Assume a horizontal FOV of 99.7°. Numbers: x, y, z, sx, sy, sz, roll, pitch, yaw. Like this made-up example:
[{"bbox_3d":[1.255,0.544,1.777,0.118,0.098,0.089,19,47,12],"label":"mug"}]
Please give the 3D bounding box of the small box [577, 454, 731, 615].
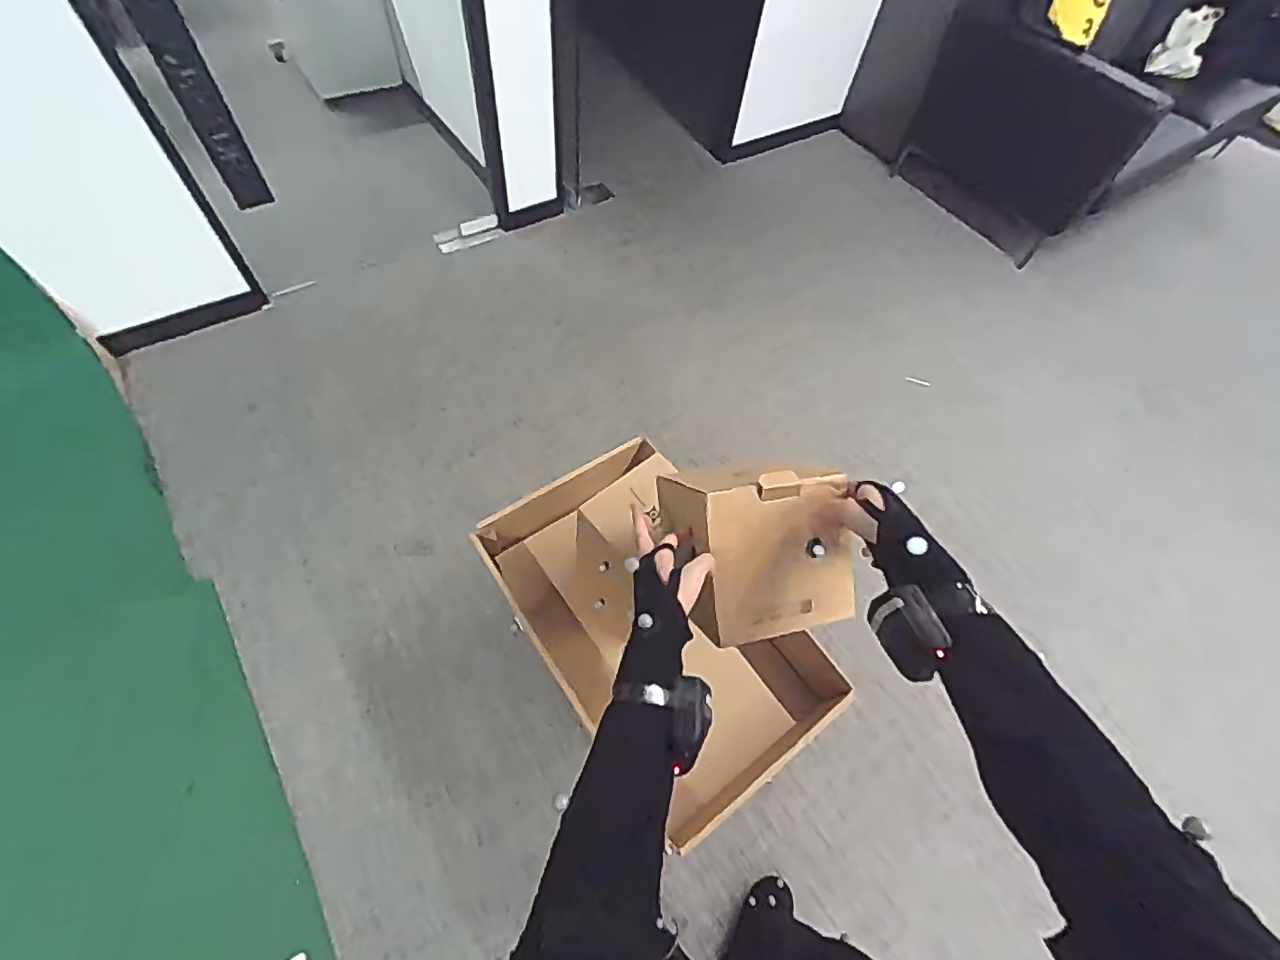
[{"bbox_3d":[0.014,0.097,0.871,0.168,0.176,0.179,-35,71,-23],"label":"small box"}]
